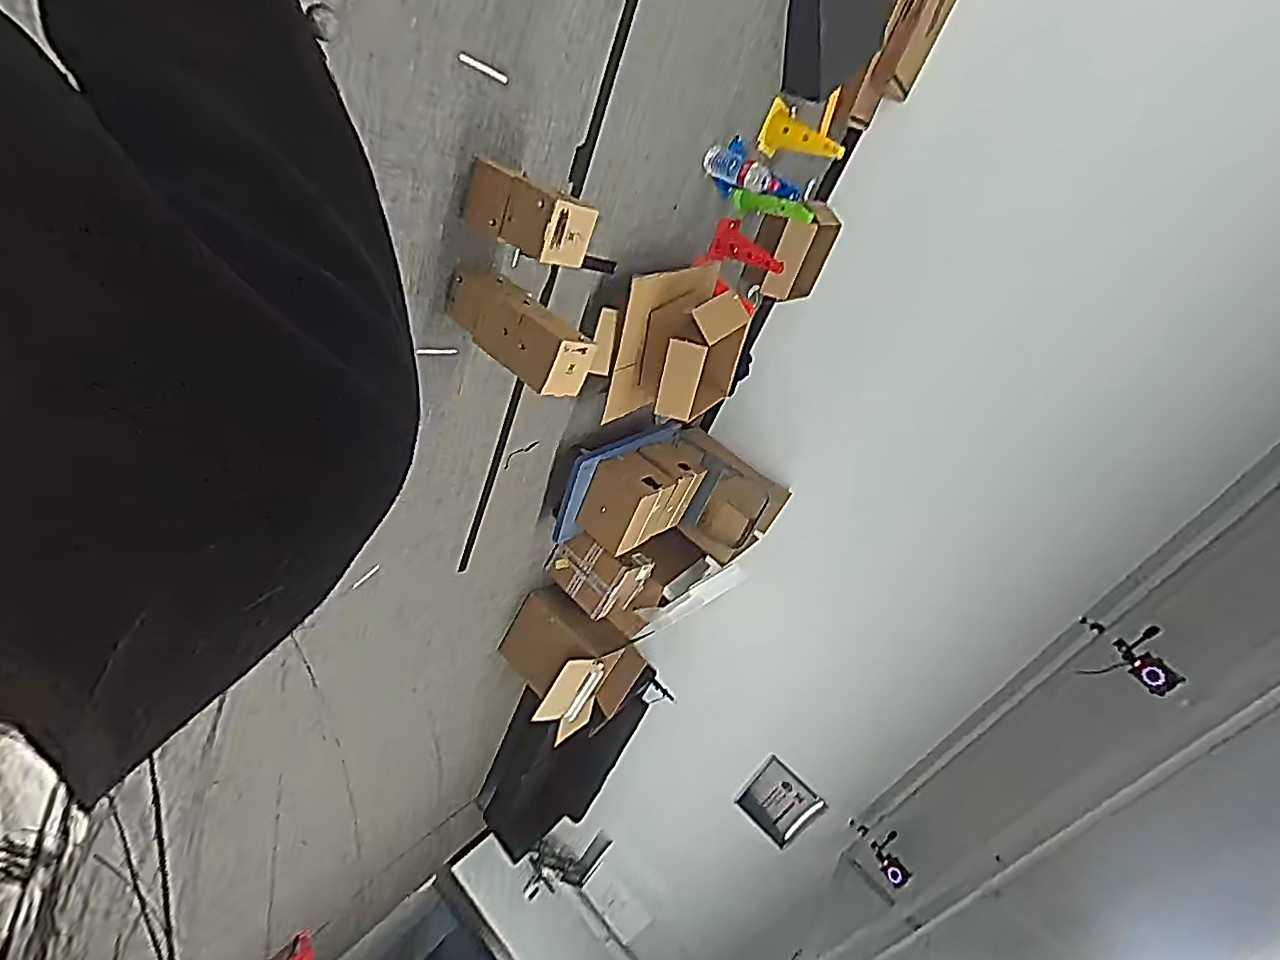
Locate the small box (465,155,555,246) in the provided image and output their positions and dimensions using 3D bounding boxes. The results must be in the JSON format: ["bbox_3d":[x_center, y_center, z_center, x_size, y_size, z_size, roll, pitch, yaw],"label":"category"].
[{"bbox_3d":[-0.383,-0.812,1.573,0.168,0.176,0.179,-19,141,-53],"label":"small box"}]

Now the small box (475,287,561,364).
[{"bbox_3d":[-0.379,-0.472,1.660,0.168,0.176,0.179,-16,140,-54],"label":"small box"}]

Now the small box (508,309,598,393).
[{"bbox_3d":[-0.262,-0.377,1.595,0.168,0.176,0.179,-13,138,-56],"label":"small box"}]

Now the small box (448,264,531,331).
[{"bbox_3d":[-0.486,-0.575,1.734,0.179,0.176,0.168,-20,143,-53],"label":"small box"}]
